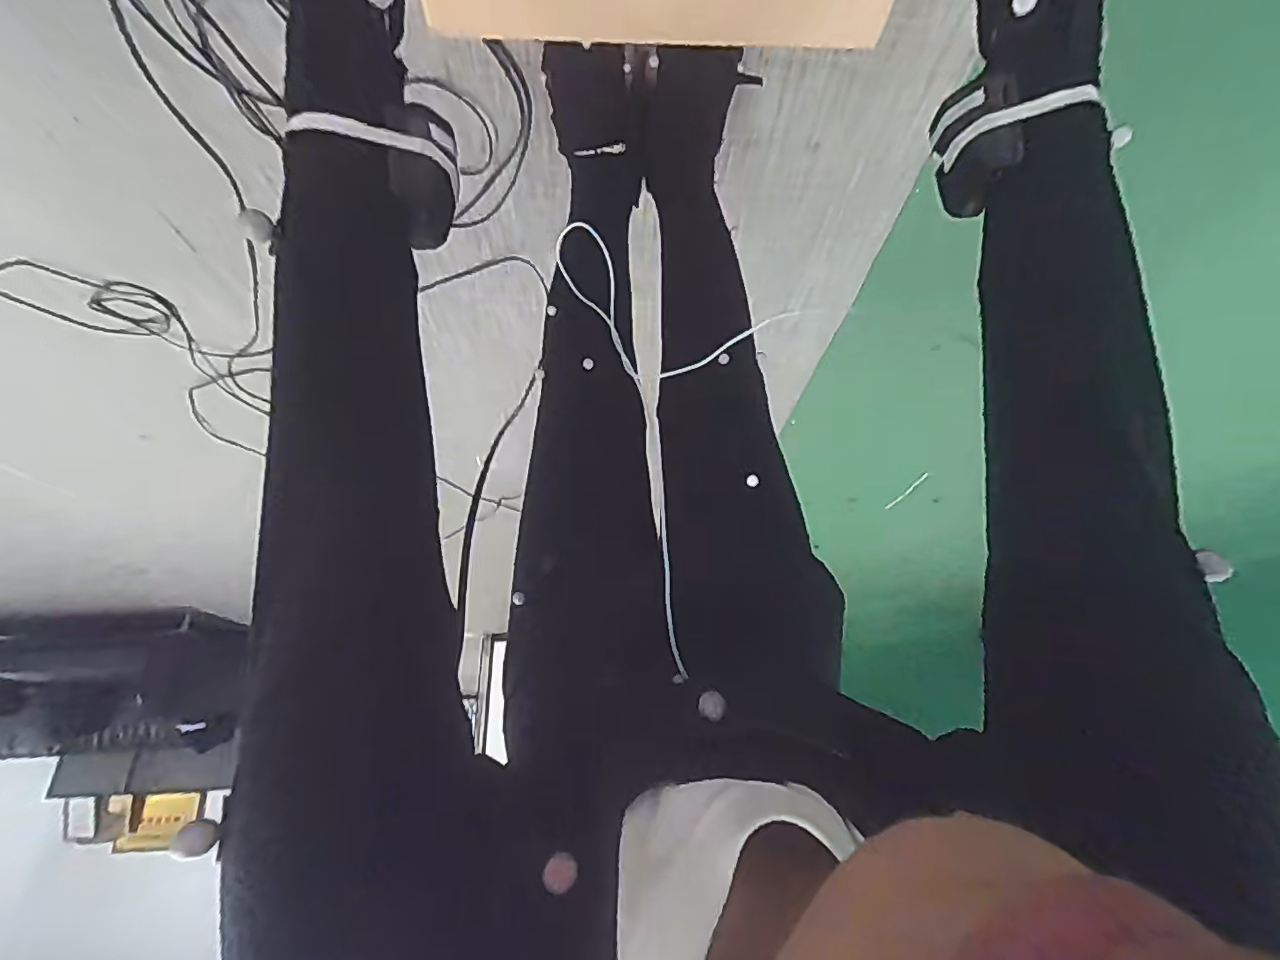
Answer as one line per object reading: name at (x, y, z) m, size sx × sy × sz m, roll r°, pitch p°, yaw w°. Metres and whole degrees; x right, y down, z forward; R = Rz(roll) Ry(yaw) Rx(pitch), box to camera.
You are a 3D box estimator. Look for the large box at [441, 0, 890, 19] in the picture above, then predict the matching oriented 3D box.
large box at (0.021, -0.614, 0.411) m, size 0.408 × 0.320 × 0.320 m, roll -1°, pitch 155°, yaw -3°
